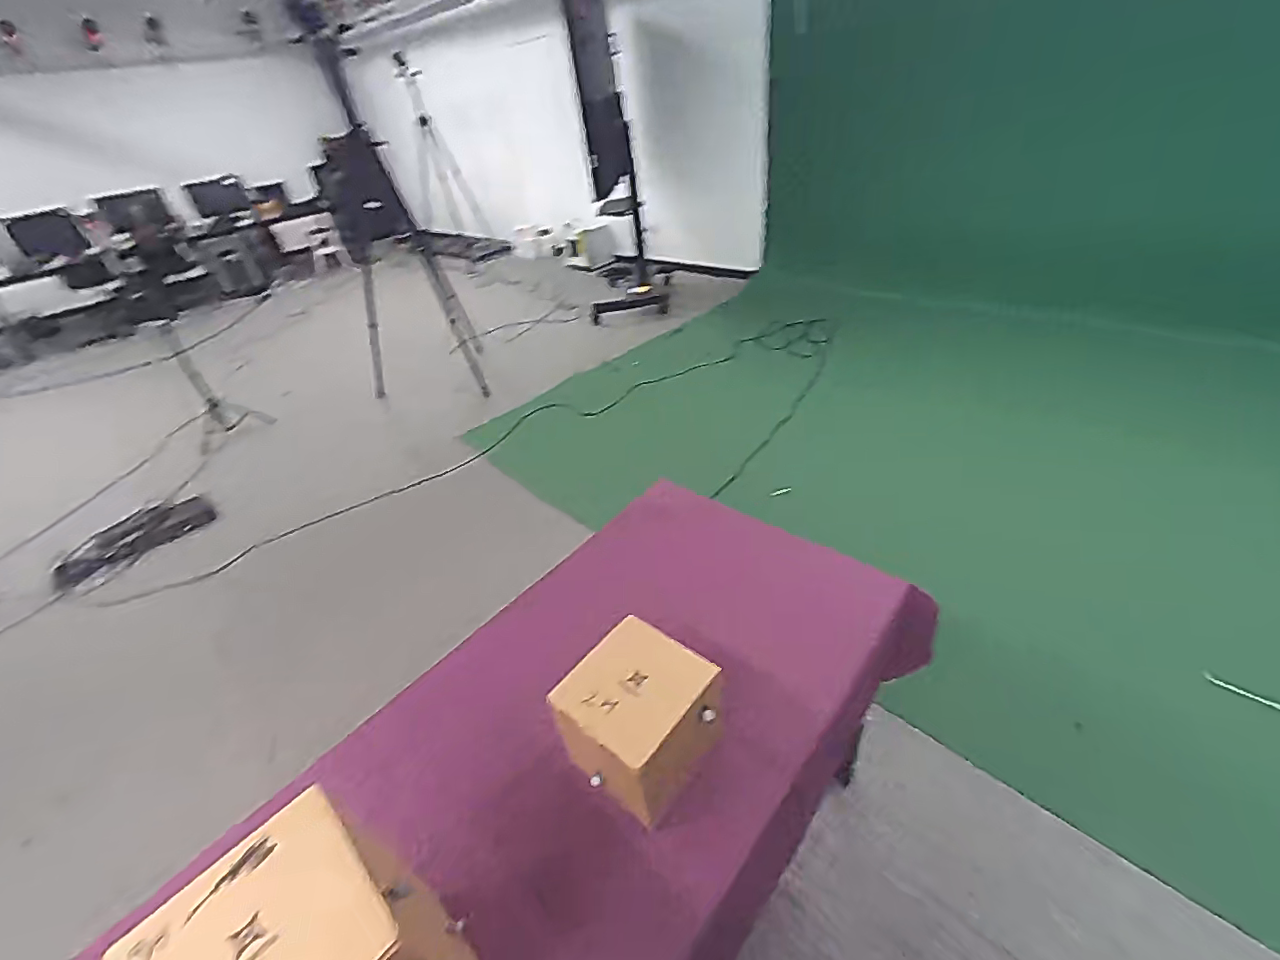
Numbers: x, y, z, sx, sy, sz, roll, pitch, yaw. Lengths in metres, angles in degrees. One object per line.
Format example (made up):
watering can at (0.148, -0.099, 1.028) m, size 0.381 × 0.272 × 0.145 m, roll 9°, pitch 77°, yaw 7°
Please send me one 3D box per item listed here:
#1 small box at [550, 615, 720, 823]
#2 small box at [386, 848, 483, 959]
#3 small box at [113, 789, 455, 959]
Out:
small box at (0.001, 0.338, 0.777) m, size 0.168 × 0.176 × 0.179 m, roll 22°, pitch 47°, yaw 36°
small box at (-0.262, 0.544, 0.559) m, size 0.179 × 0.176 × 0.168 m, roll 25°, pitch 48°, yaw 36°
small box at (-0.279, 0.417, 0.456) m, size 0.179 × 0.176 × 0.168 m, roll 25°, pitch 48°, yaw 36°
